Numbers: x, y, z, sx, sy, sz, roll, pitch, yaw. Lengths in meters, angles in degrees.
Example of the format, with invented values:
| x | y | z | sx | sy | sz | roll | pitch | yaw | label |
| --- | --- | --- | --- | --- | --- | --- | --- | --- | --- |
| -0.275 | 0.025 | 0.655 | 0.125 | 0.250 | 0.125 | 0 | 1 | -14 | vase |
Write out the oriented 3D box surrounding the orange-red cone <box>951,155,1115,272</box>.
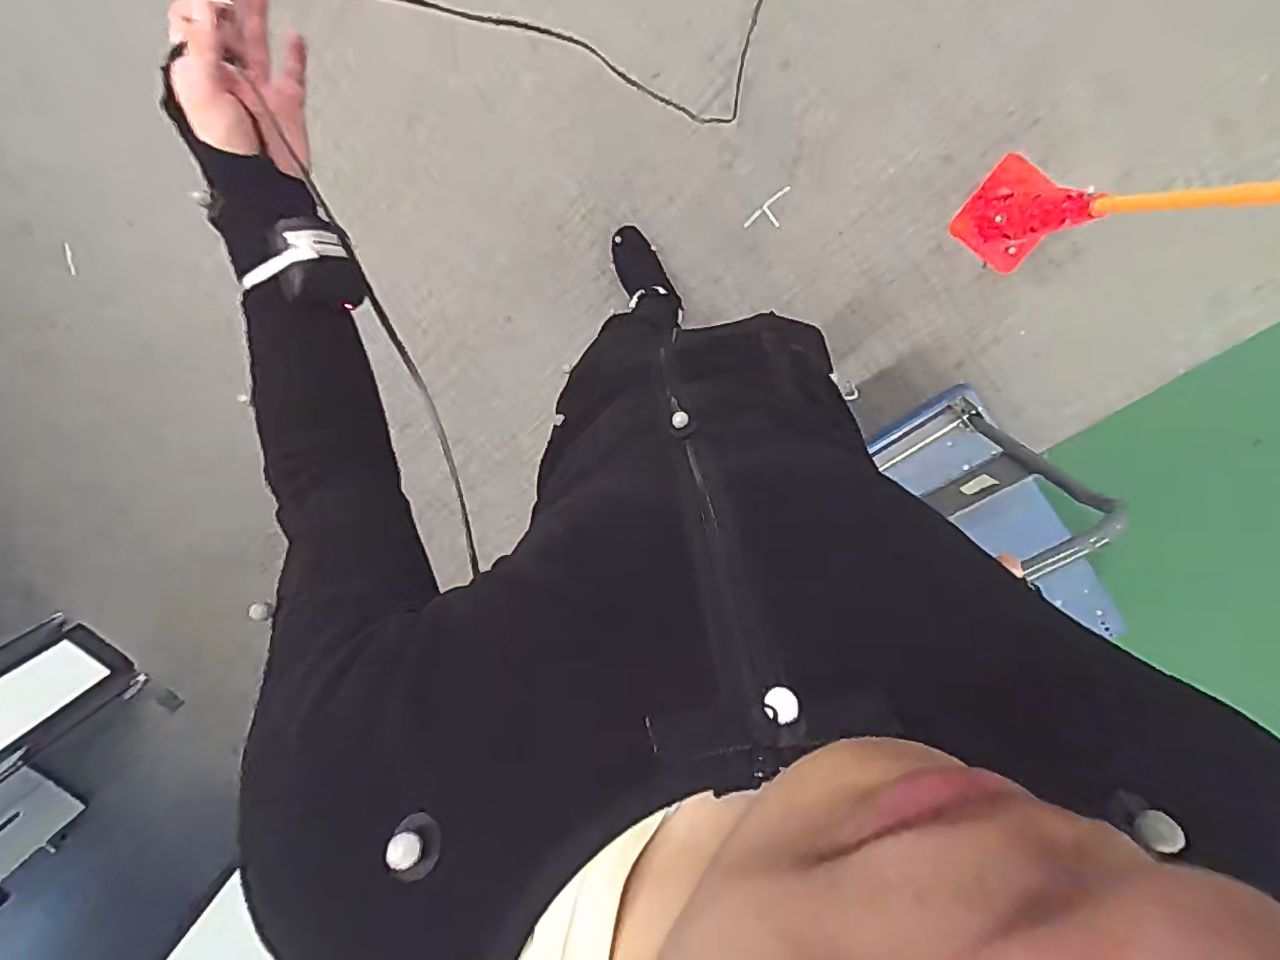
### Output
| x | y | z | sx | sy | sz | roll | pitch | yaw | label |
| --- | --- | --- | --- | --- | --- | --- | --- | --- | --- |
| 0.850 | -0.560 | 1.121 | 0.198 | 0.360 | 0.199 | 35 | 113 | -8 | orange-red cone |
